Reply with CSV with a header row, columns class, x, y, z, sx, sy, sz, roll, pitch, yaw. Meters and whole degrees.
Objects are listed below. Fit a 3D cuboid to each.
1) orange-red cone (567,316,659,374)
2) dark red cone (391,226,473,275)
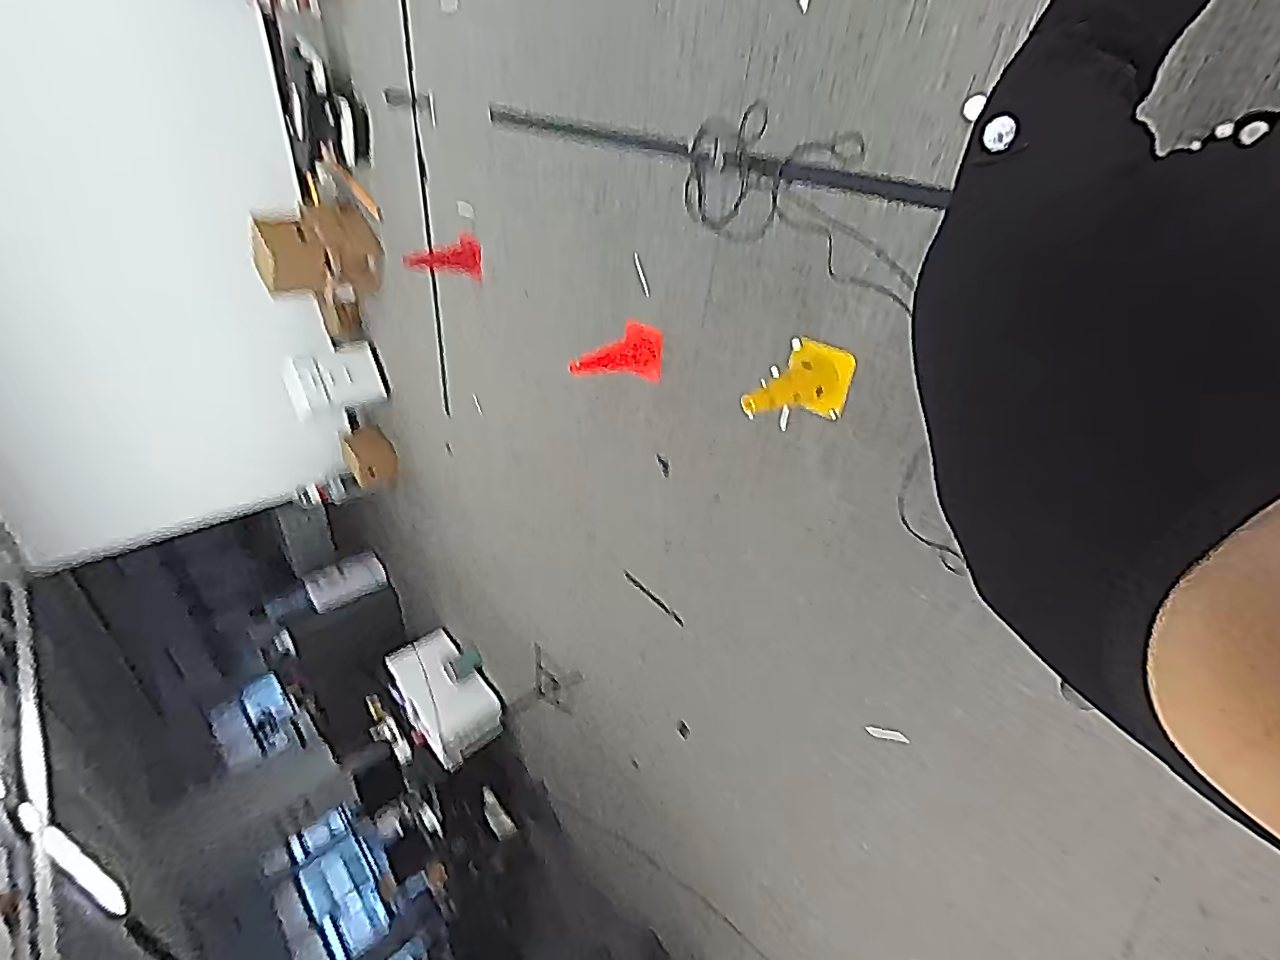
class,x,y,z,sx,sy,sz,roll,pitch,yaw
orange-red cone,-0.121,-0.472,2.016,0.199,0.360,0.198,31,131,34
dark red cone,-1.028,-1.132,2.676,0.202,0.394,0.201,39,133,29
